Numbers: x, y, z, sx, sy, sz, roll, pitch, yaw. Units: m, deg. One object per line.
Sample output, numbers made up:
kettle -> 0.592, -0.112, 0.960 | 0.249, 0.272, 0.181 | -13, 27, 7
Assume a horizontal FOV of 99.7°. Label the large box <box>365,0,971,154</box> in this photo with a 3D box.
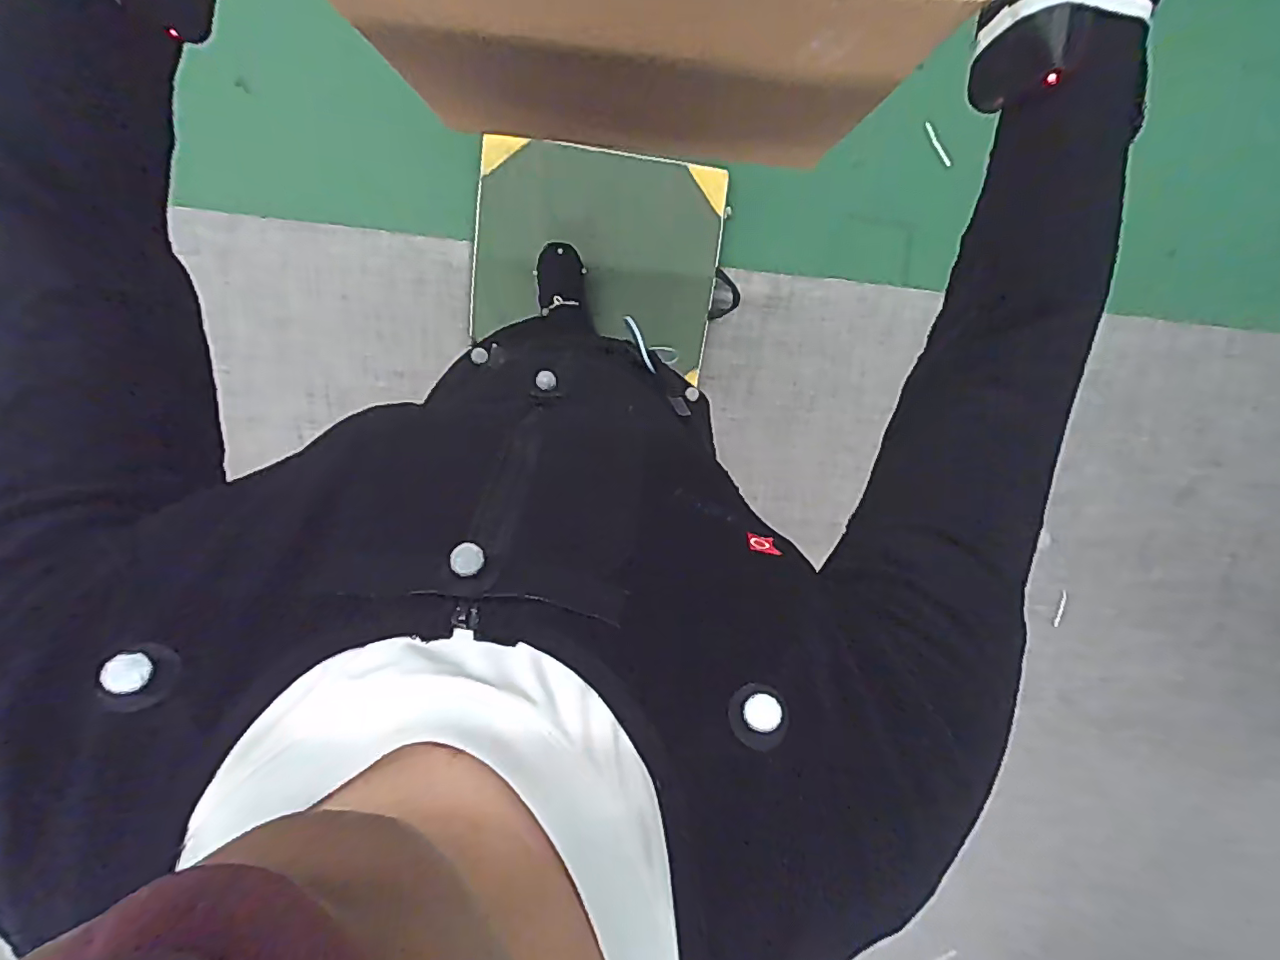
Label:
large box -> 0.013, -0.479, 0.411 | 0.408, 0.320, 0.320 | 4, 106, -2
